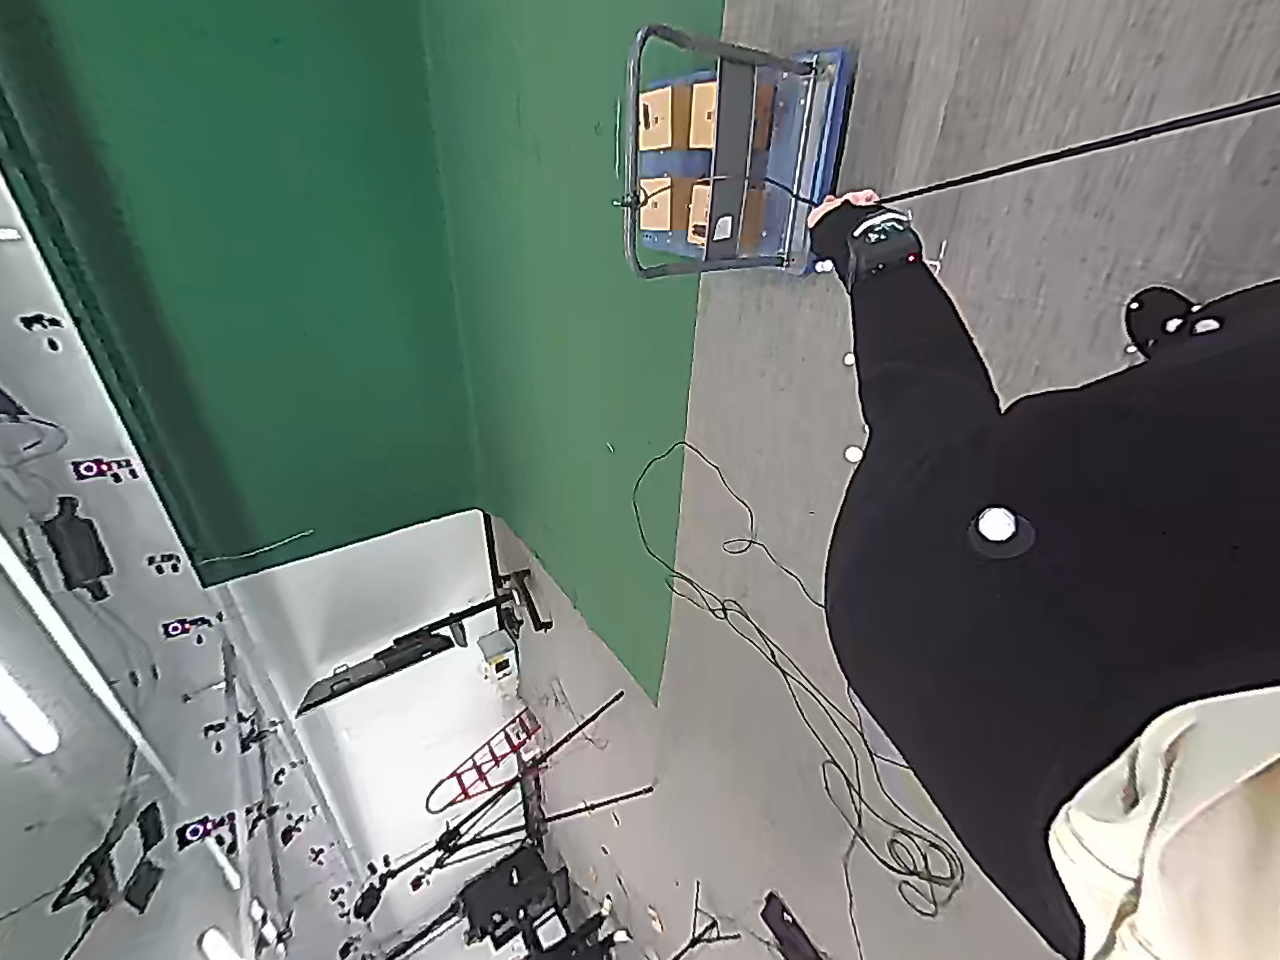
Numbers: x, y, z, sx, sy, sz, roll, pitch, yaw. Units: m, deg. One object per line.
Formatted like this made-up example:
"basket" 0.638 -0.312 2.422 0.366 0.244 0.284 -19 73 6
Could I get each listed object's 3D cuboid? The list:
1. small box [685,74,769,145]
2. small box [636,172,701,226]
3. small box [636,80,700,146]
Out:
"small box" 0.263 -1.124 1.648 0.179 0.176 0.168 35 133 42
"small box" 0.104 -1.012 1.946 0.179 0.176 0.168 31 130 46
"small box" 0.102 -1.237 1.833 0.179 0.176 0.168 30 131 45
